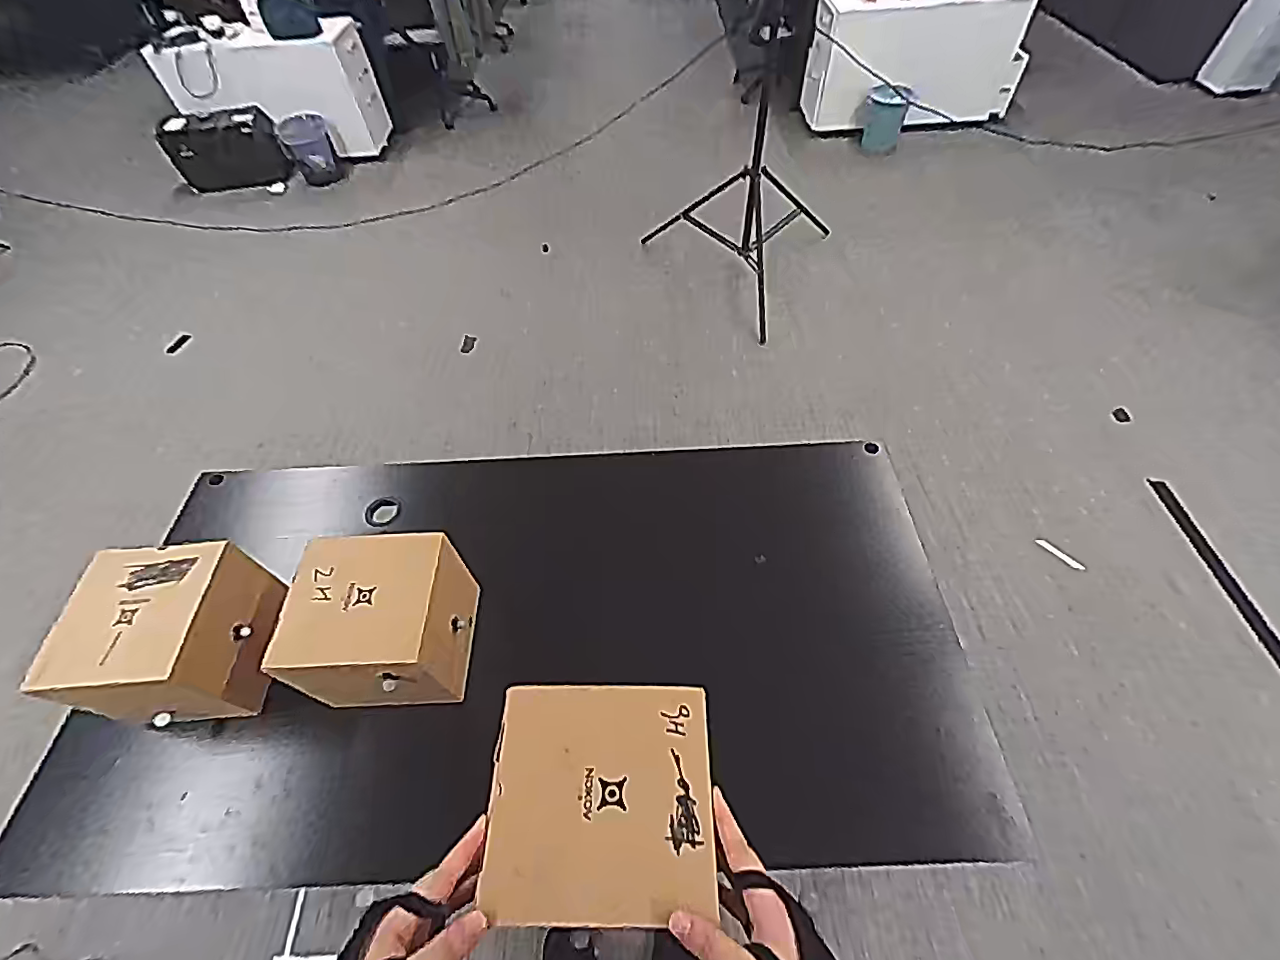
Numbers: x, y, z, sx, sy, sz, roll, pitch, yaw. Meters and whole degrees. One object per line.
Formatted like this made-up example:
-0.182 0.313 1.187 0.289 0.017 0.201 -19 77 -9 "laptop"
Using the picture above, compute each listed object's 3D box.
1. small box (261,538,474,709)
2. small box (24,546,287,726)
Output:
-0.329 0.190 0.702 0.179 0.176 0.168 -3 53 0 "small box"
-0.596 0.206 0.705 0.168 0.176 0.179 -4 55 0 "small box"
